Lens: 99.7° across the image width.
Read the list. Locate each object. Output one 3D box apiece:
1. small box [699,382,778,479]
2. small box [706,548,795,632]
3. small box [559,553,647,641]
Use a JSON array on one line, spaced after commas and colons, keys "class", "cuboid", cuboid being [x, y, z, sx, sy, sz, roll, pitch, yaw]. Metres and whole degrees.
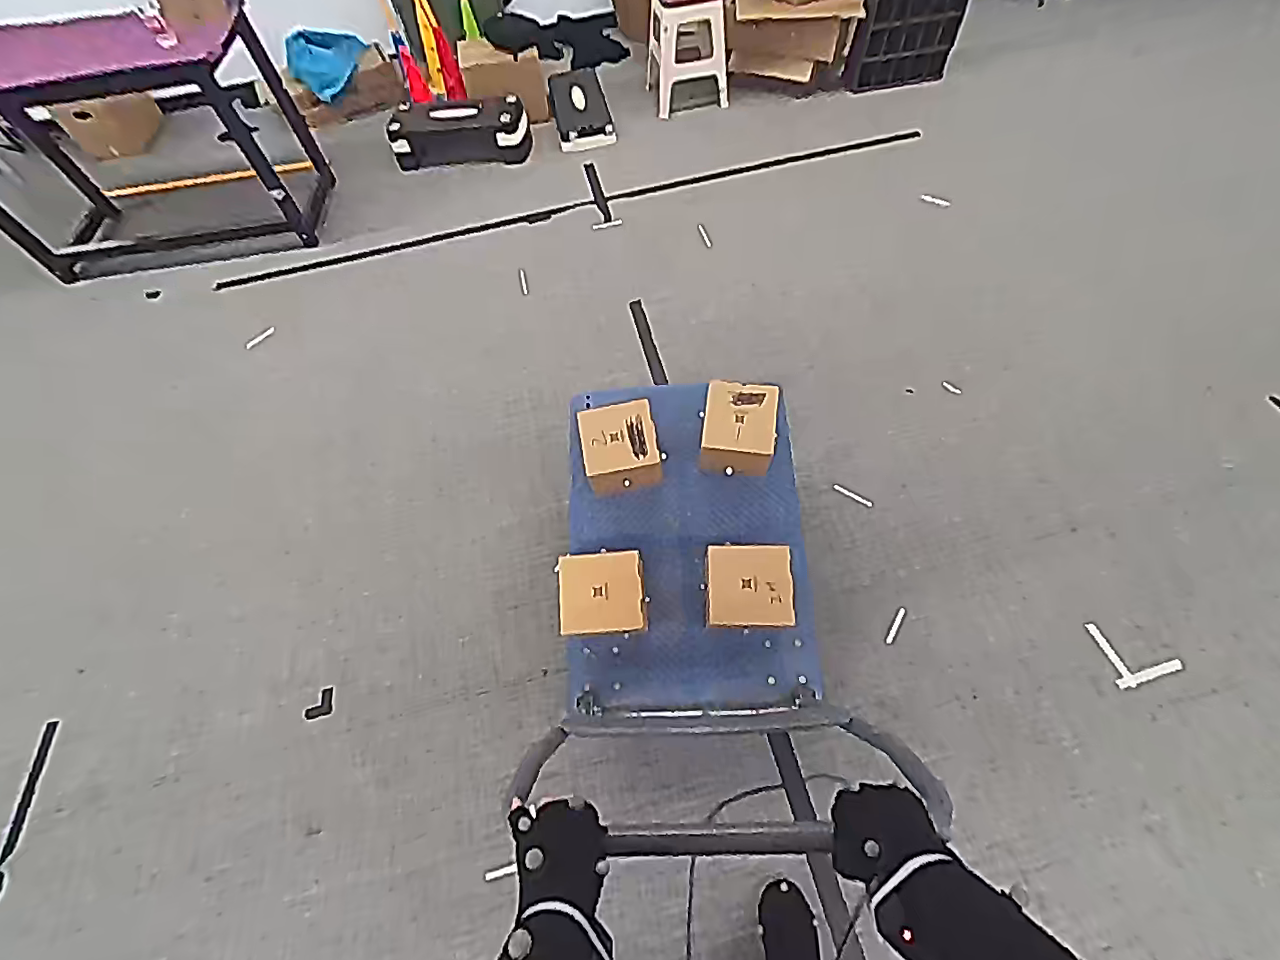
[{"class": "small box", "cuboid": [0.236, -0.117, 1.326, 0.168, 0.176, 0.179, 7, 73, 6]}, {"class": "small box", "cuboid": [0.236, 0.248, 1.201, 0.179, 0.176, 0.168, -1, 72, 4]}, {"class": "small box", "cuboid": [-0.080, 0.268, 1.216, 0.179, 0.176, 0.168, -5, 71, 0]}]
